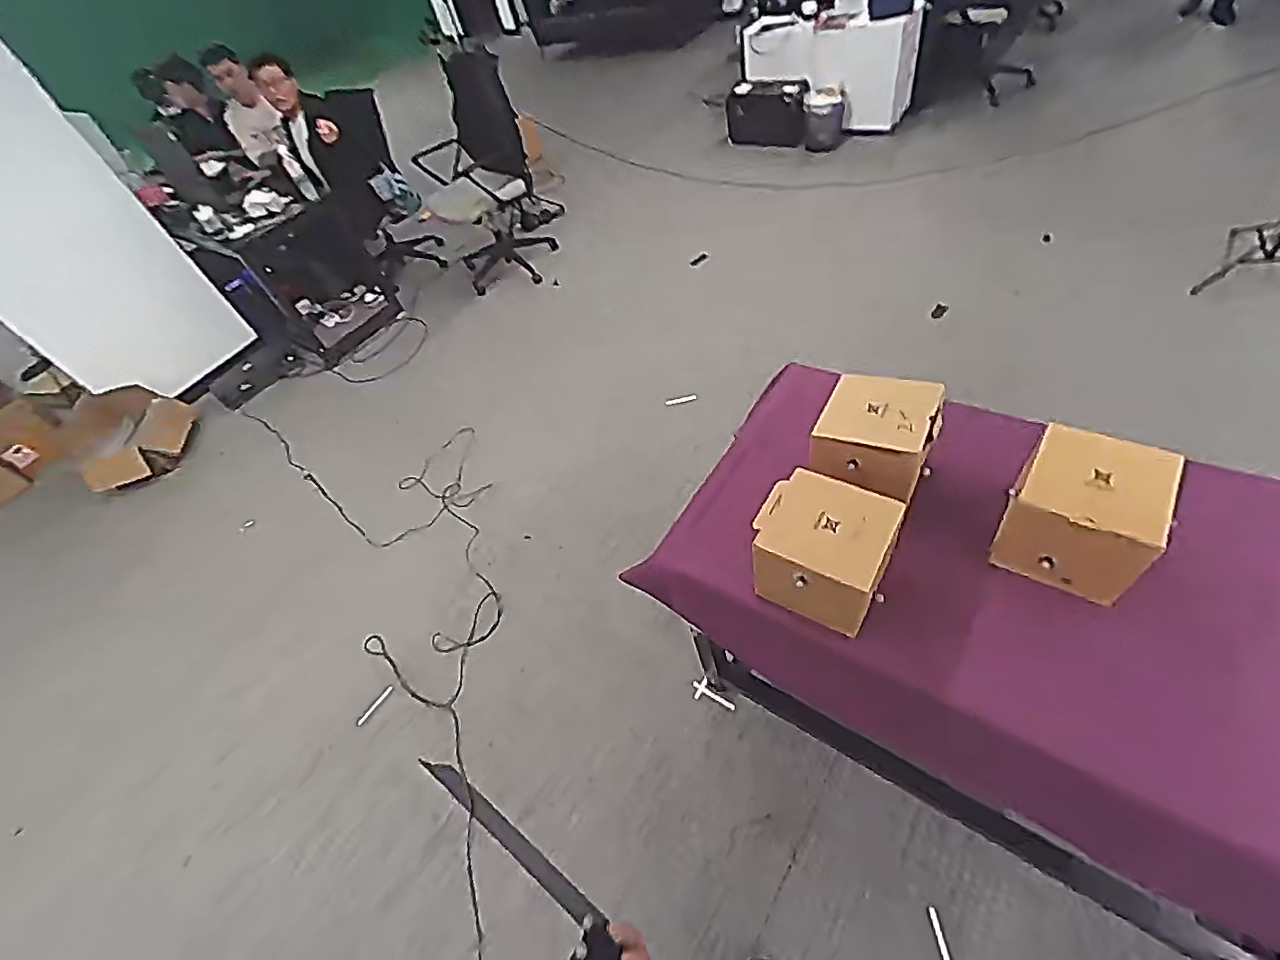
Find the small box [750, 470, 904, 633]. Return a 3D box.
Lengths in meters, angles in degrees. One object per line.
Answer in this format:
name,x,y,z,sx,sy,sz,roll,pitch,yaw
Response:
small box,0.294,0.118,0.869,0.179,0.176,0.168,22,60,28

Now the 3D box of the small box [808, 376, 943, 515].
small box,0.417,-0.058,0.981,0.179,0.176,0.168,20,60,27
